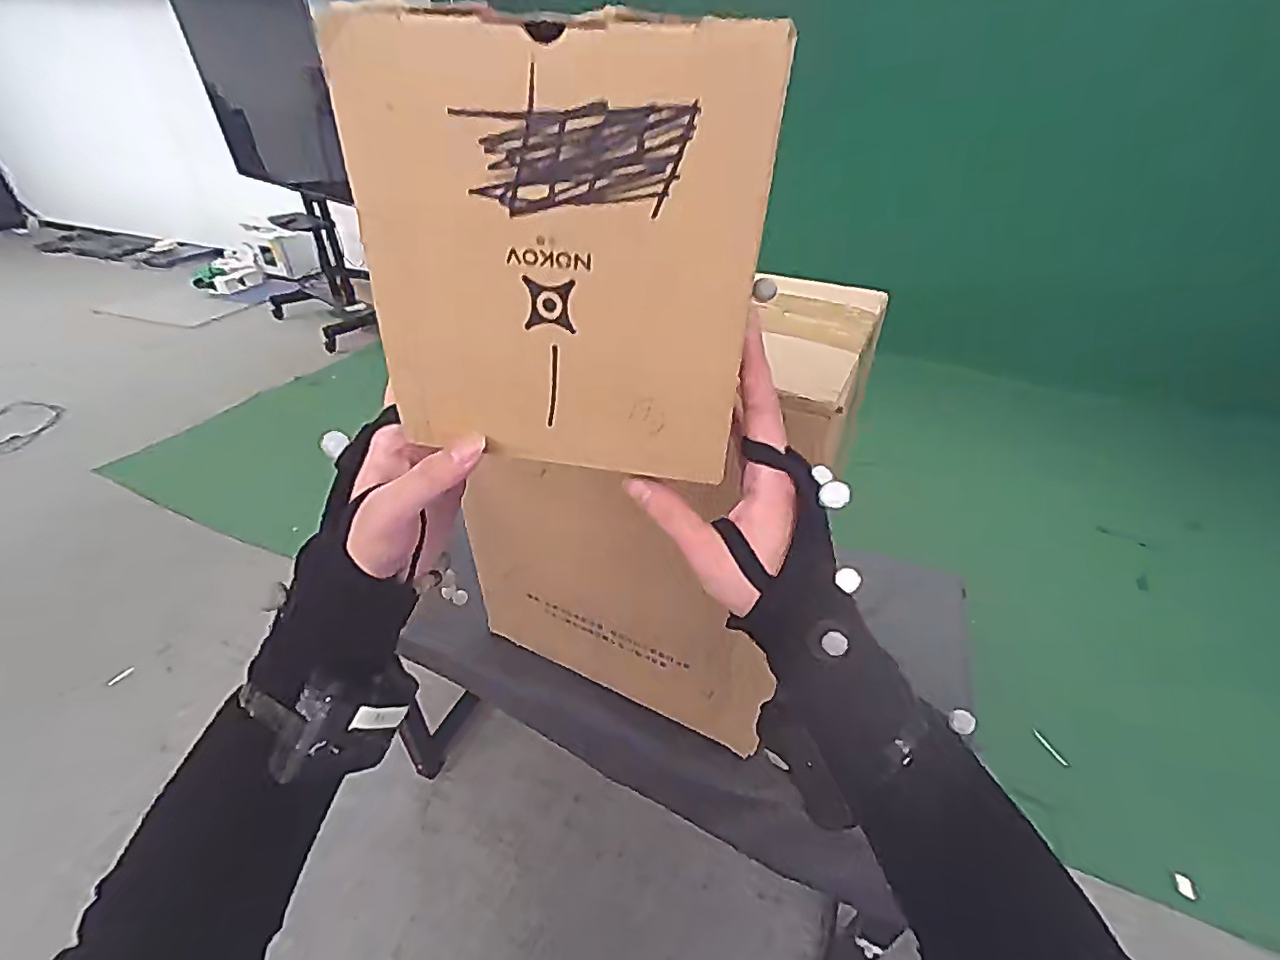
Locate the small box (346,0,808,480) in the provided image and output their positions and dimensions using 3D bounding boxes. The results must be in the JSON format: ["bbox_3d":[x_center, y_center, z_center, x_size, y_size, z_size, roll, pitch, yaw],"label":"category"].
[{"bbox_3d":[-0.019,-0.125,0.295,0.168,0.179,0.176,8,33,6],"label":"small box"}]
